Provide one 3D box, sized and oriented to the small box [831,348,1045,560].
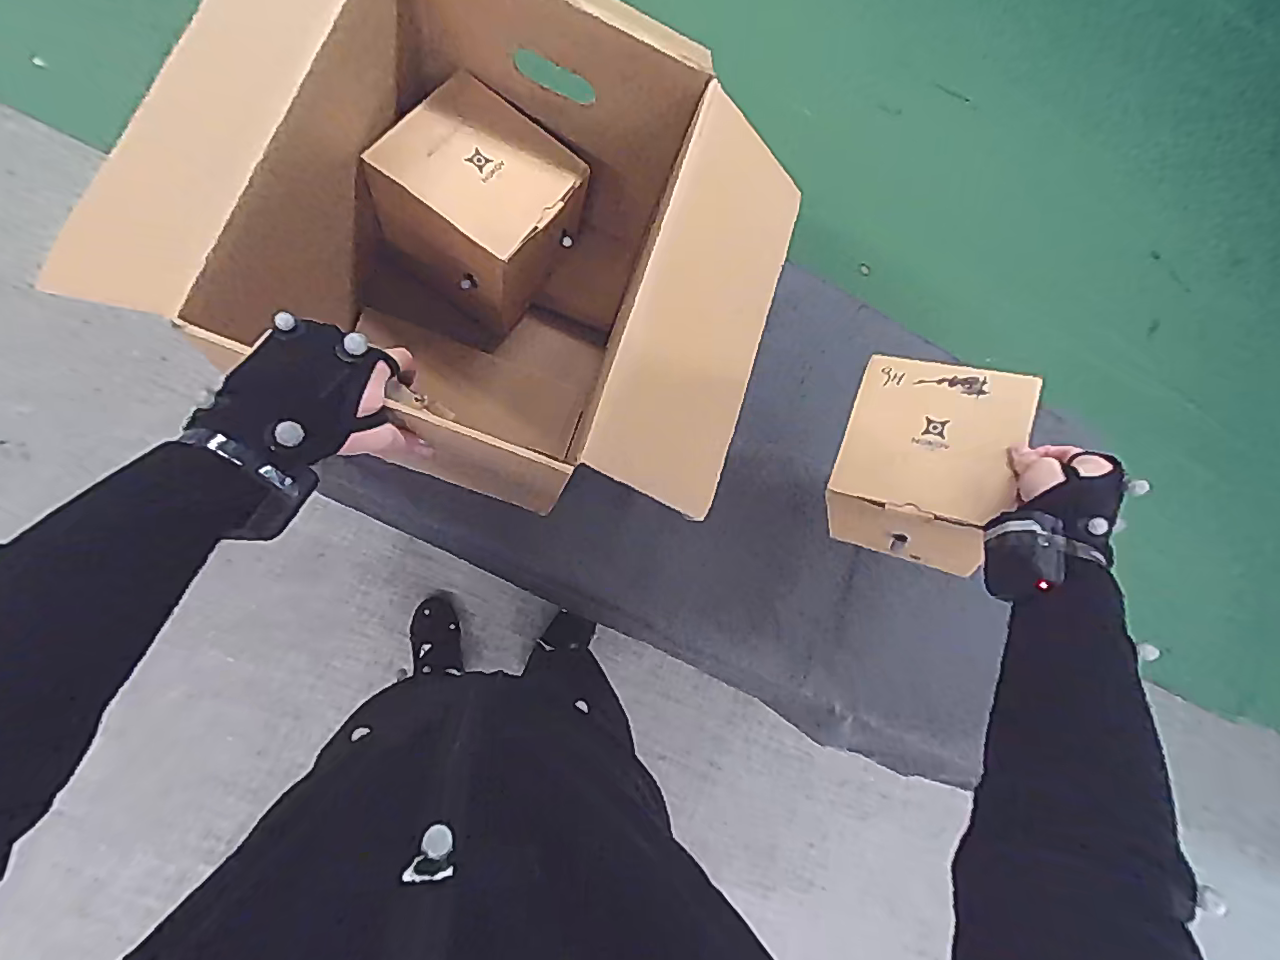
[{"bbox_3d":[0.335,-0.024,0.632,0.168,0.176,0.179,17,75,26],"label":"small box"}]
